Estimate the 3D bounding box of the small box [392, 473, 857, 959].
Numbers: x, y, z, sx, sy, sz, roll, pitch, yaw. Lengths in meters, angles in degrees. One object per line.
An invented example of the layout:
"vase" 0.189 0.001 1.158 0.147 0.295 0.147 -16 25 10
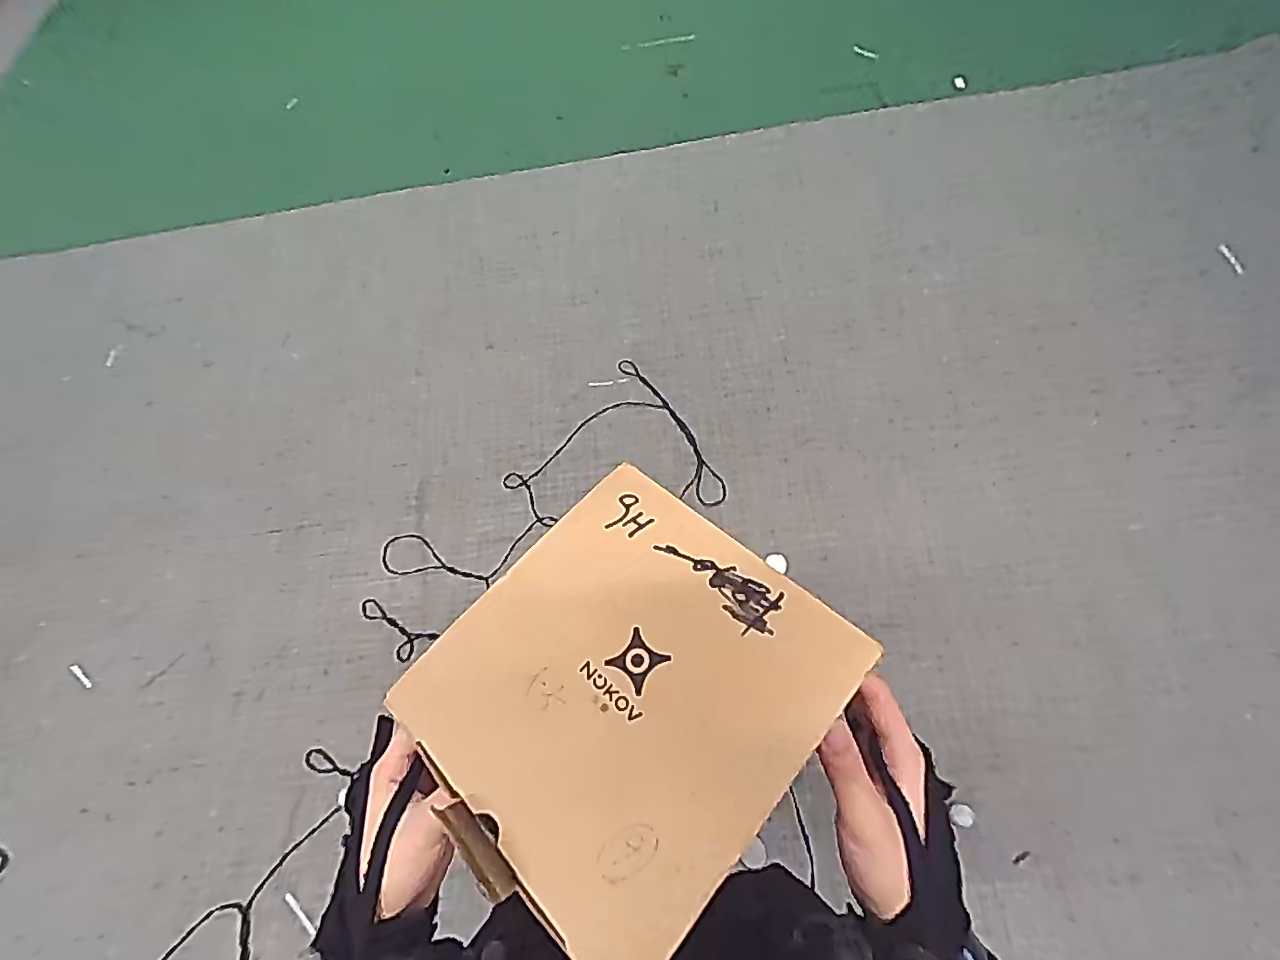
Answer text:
"small box" 0.001 0.136 0.329 0.168 0.176 0.179 36 71 26
